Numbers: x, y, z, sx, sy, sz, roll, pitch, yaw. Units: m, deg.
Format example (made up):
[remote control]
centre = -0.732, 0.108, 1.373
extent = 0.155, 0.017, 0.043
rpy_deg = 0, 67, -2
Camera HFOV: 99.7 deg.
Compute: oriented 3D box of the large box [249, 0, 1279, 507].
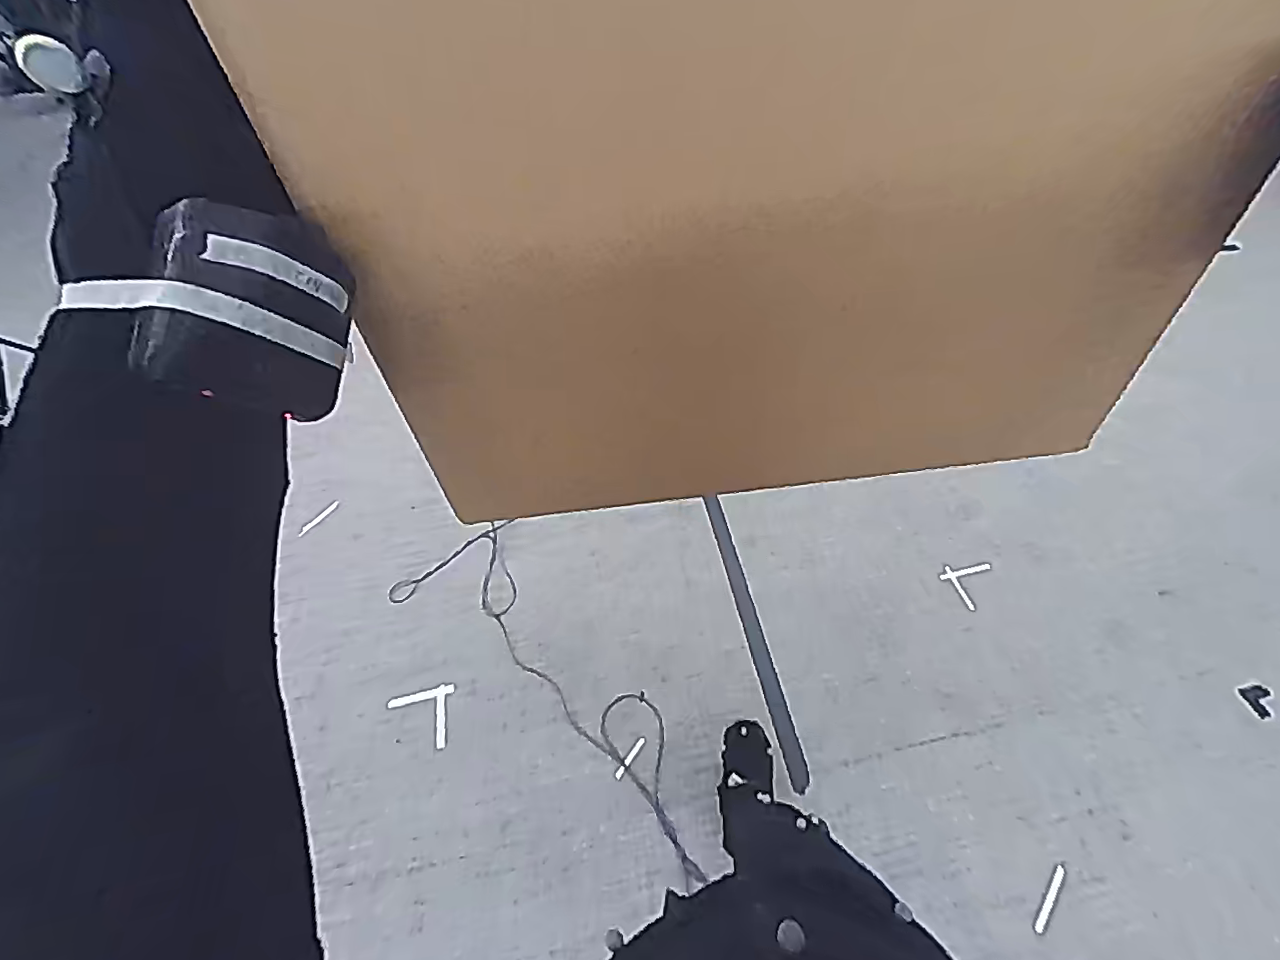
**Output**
[large box]
centre = 0.055, -0.213, 0.360
extent = 0.408, 0.320, 0.320
rpy_deg = -7, 46, -1
